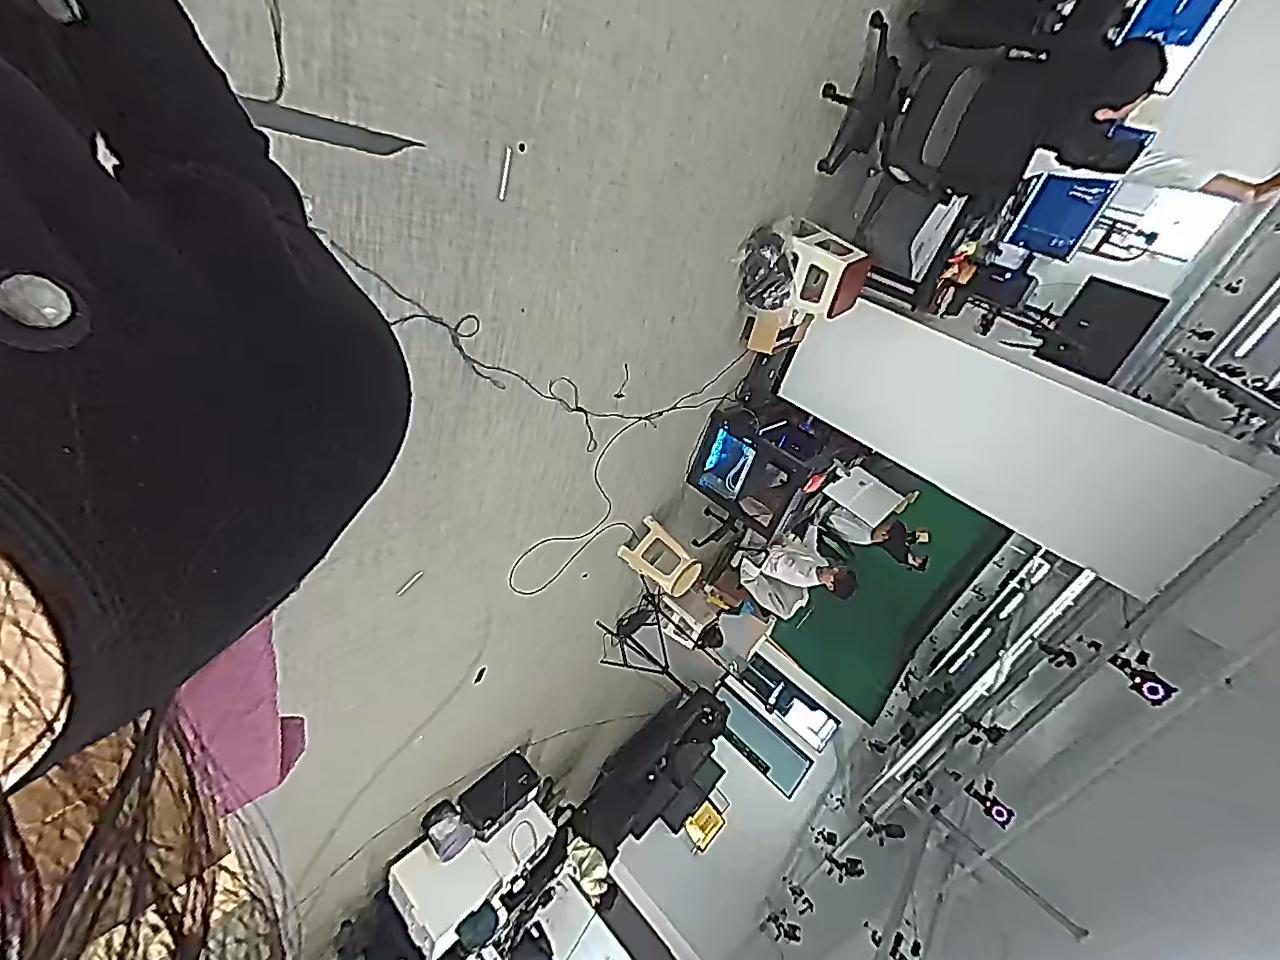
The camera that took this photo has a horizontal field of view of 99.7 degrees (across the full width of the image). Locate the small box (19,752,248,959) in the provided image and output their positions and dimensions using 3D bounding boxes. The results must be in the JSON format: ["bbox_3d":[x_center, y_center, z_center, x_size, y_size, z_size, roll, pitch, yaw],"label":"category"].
[{"bbox_3d":[-0.655,0.507,0.707,0.179,0.176,0.168,-25,144,-46],"label":"small box"}]

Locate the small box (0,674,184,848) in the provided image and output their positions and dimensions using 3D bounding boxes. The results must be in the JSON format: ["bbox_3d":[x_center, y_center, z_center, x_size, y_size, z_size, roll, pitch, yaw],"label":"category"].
[{"bbox_3d":[-0.772,0.419,0.776,0.168,0.176,0.179,-23,141,-46],"label":"small box"}]
